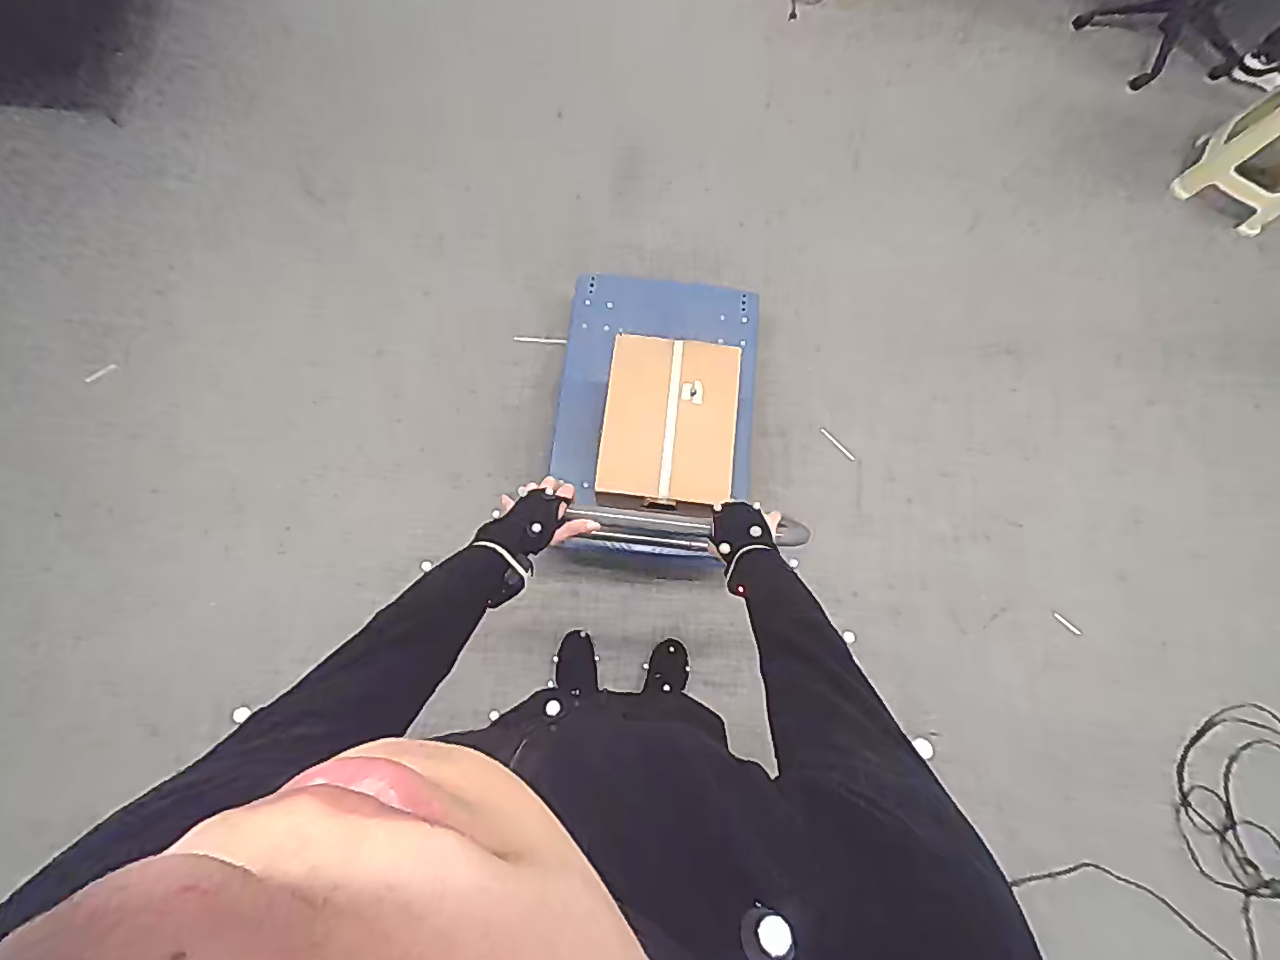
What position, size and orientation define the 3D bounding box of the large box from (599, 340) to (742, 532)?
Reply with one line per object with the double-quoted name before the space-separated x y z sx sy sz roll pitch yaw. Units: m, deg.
"large box" 0.074 -0.096 1.406 0.320 0.320 0.408 7 74 -1
